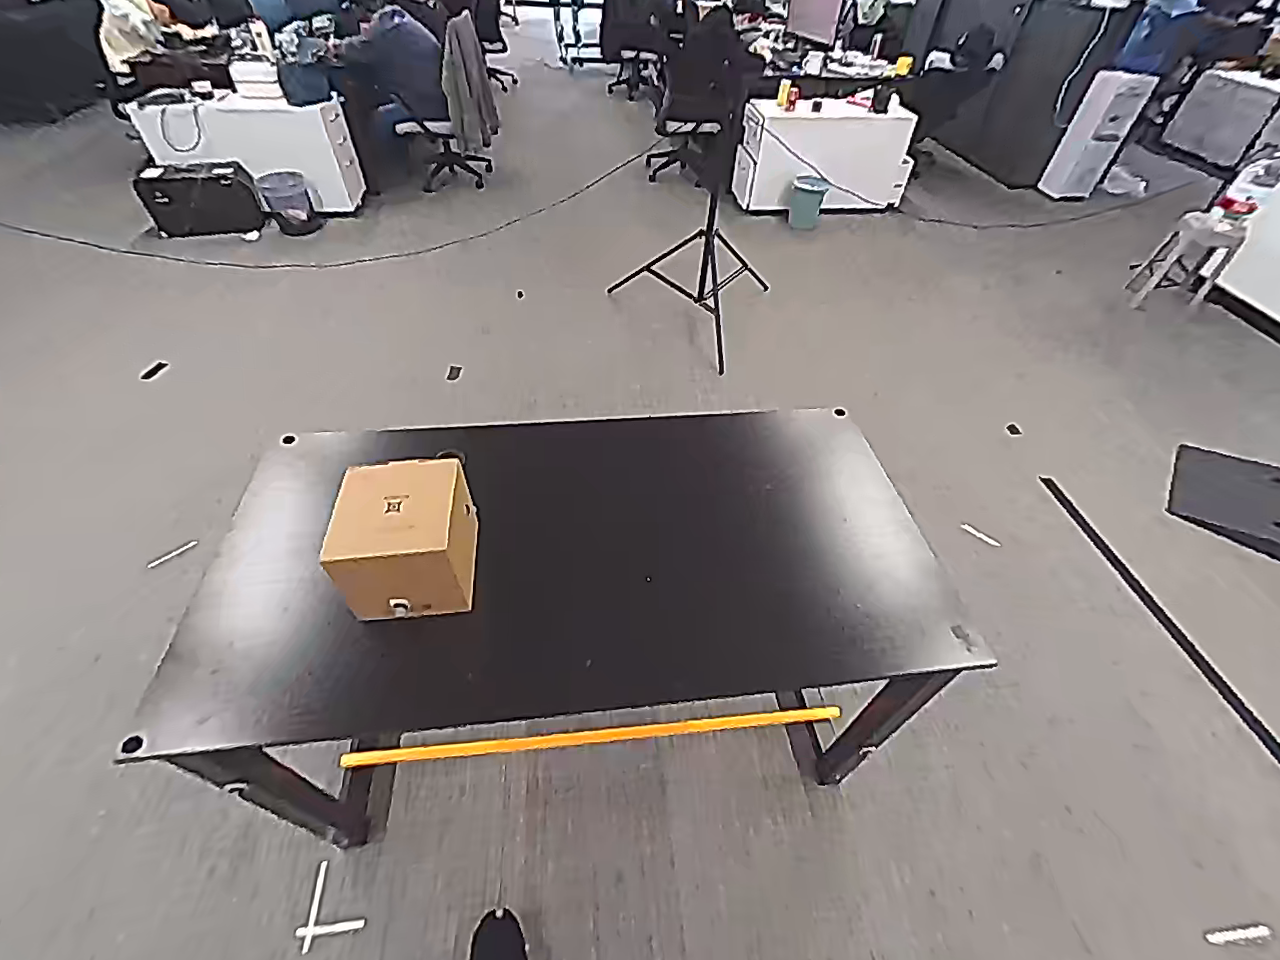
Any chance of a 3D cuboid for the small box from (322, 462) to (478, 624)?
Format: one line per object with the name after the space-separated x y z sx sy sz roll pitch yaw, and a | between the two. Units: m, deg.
-0.350 0.096 0.830 0.168 0.176 0.179 -6 48 -6 | small box
